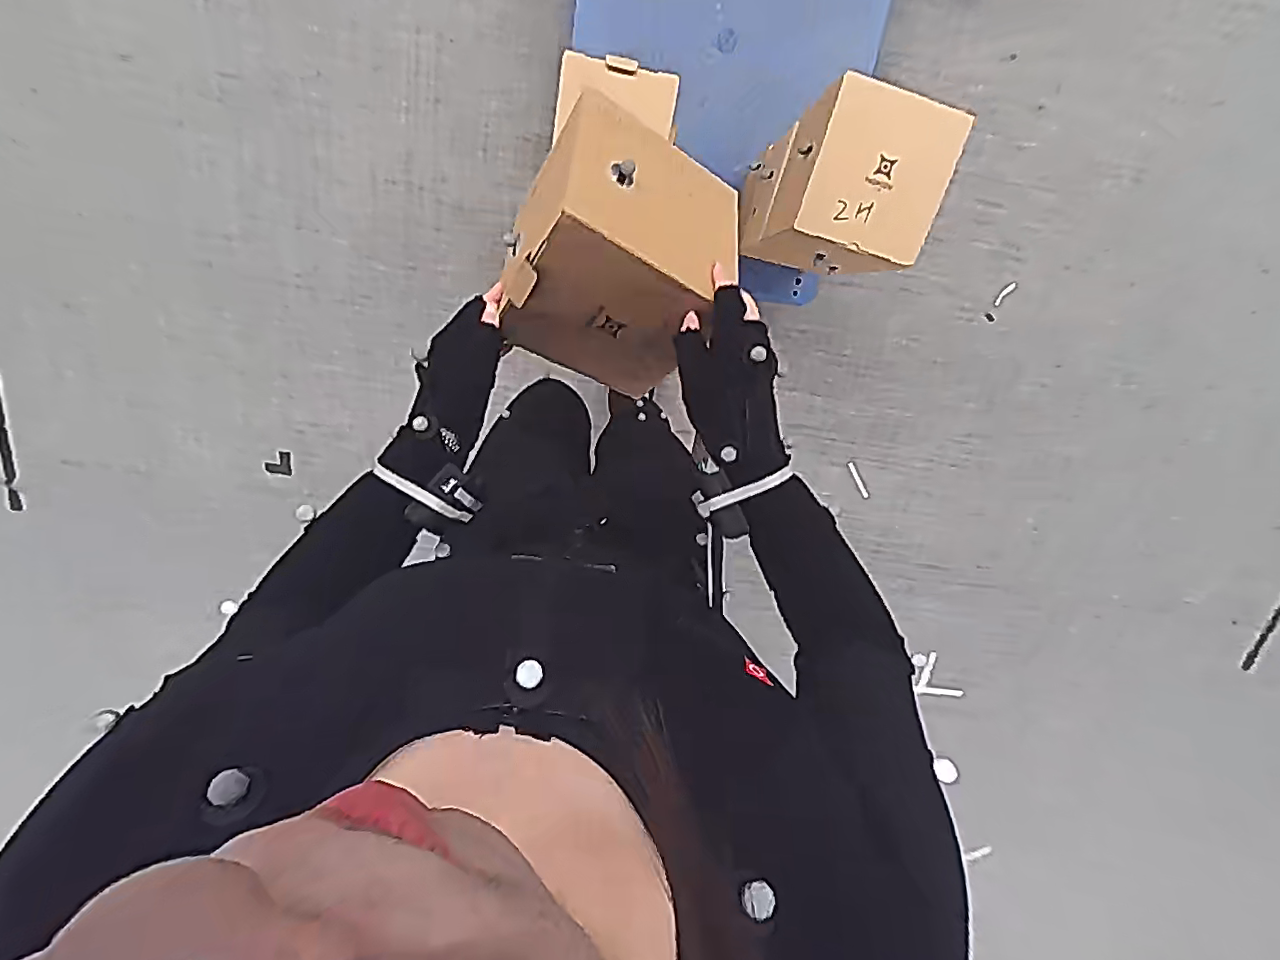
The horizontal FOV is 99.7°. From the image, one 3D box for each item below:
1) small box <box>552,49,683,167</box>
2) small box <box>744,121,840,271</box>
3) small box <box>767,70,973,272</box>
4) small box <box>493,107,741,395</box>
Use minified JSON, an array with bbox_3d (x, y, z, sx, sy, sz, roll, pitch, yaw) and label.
[{"bbox_3d":[-0.037,-0.520,0.846,0.168,0.176,0.179,10,108,-4],"label":"small box"},{"bbox_3d":[0.284,-0.444,0.878,0.179,0.176,0.168,14,109,-6],"label":"small box"},{"bbox_3d":[0.287,-0.392,0.722,0.168,0.176,0.179,15,109,-6],"label":"small box"},{"bbox_3d":[-0.021,-0.219,0.534,0.179,0.176,0.168,20,149,-28],"label":"small box"}]
